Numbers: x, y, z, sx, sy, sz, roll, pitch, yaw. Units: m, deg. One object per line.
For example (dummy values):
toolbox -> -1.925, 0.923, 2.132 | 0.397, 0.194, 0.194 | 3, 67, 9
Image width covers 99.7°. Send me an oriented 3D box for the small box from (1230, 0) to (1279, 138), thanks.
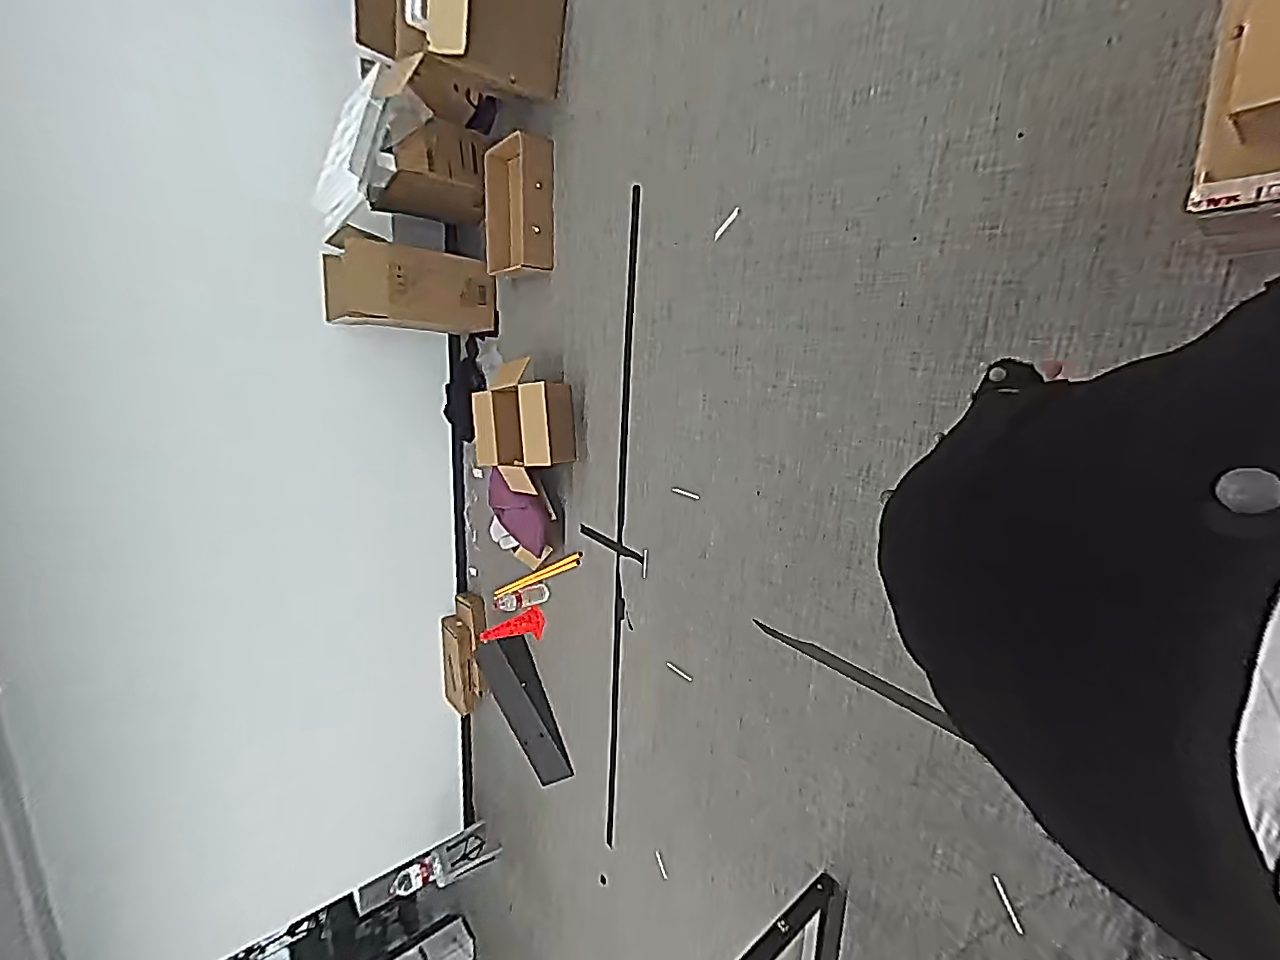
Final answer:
small box -> 0.737, -0.480, 0.543 | 0.168, 0.176, 0.179 | 13, 111, 51
